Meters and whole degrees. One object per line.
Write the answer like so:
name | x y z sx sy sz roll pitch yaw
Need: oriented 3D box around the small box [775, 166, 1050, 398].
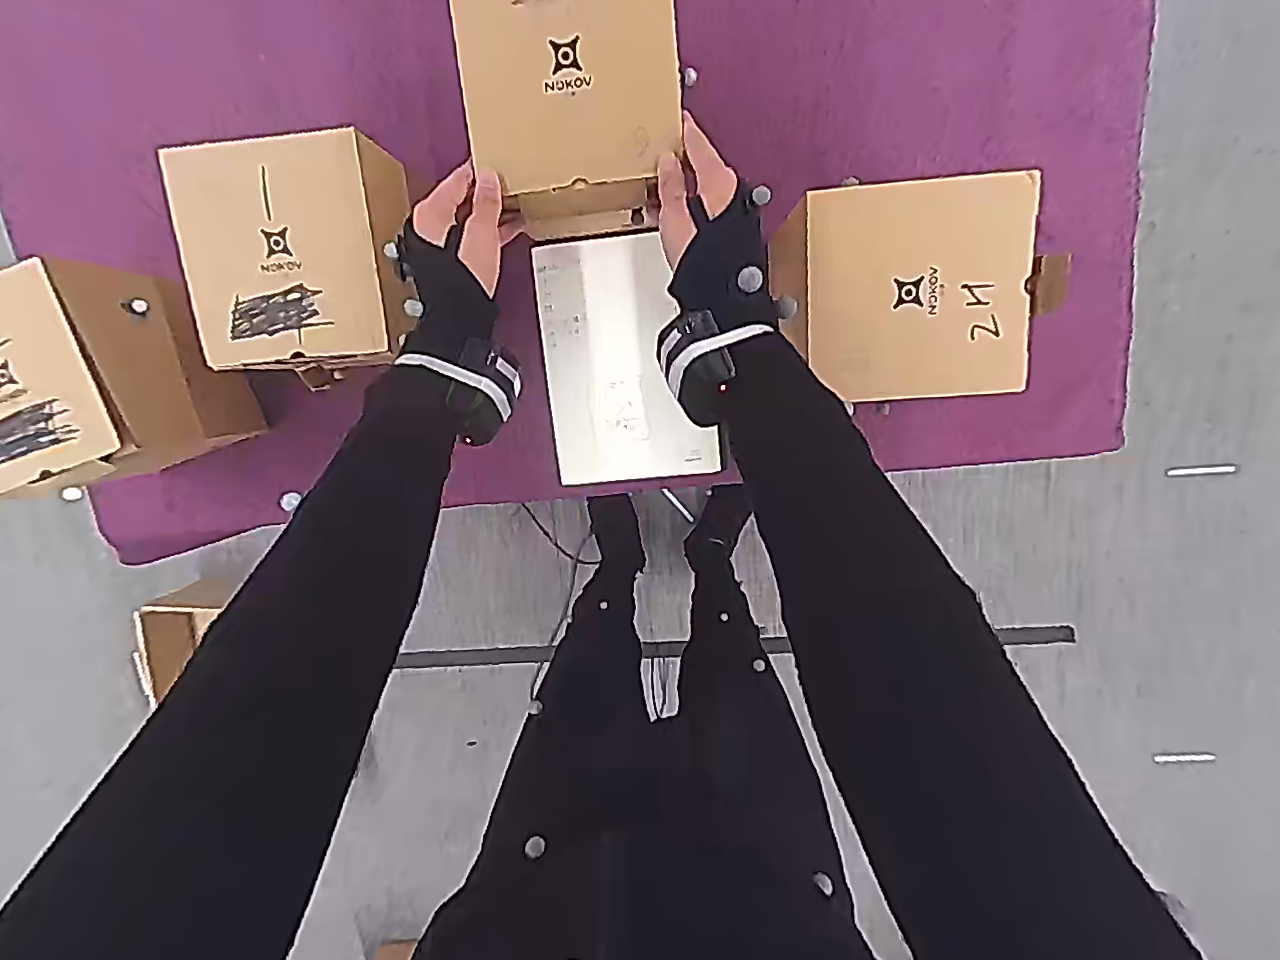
small box | 0.222 -0.163 0.494 0.179 0.176 0.168 -3 102 4

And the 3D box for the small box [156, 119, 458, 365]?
small box | -0.290 -0.204 0.515 0.168 0.176 0.179 -4 101 4

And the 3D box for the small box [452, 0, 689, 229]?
small box | -0.044 -0.330 0.471 0.168 0.176 0.179 -4 103 6
